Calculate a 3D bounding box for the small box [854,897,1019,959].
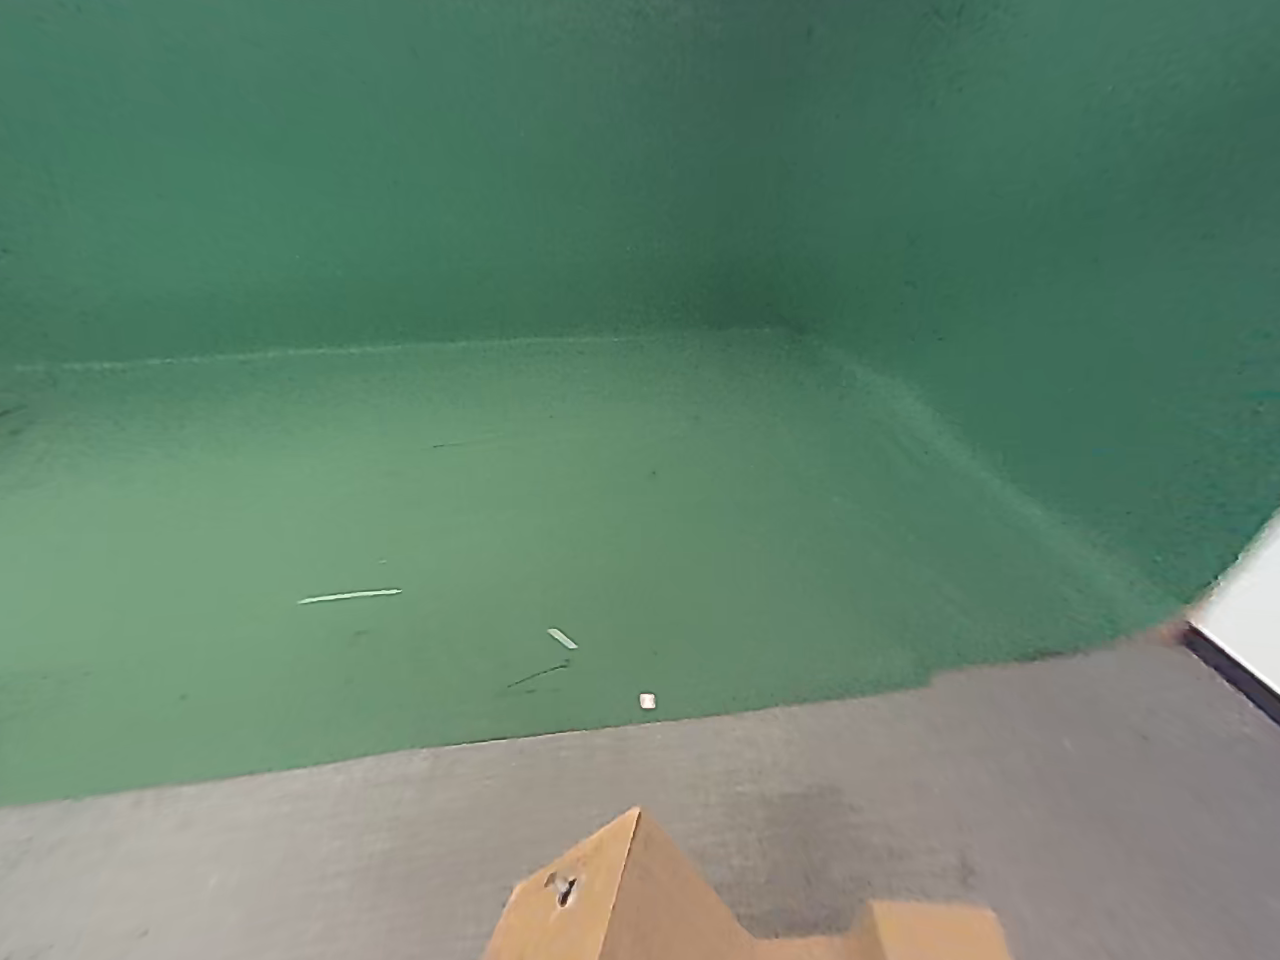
[{"bbox_3d":[0.401,0.695,0.719,0.168,0.176,0.179,1,36,3],"label":"small box"}]
